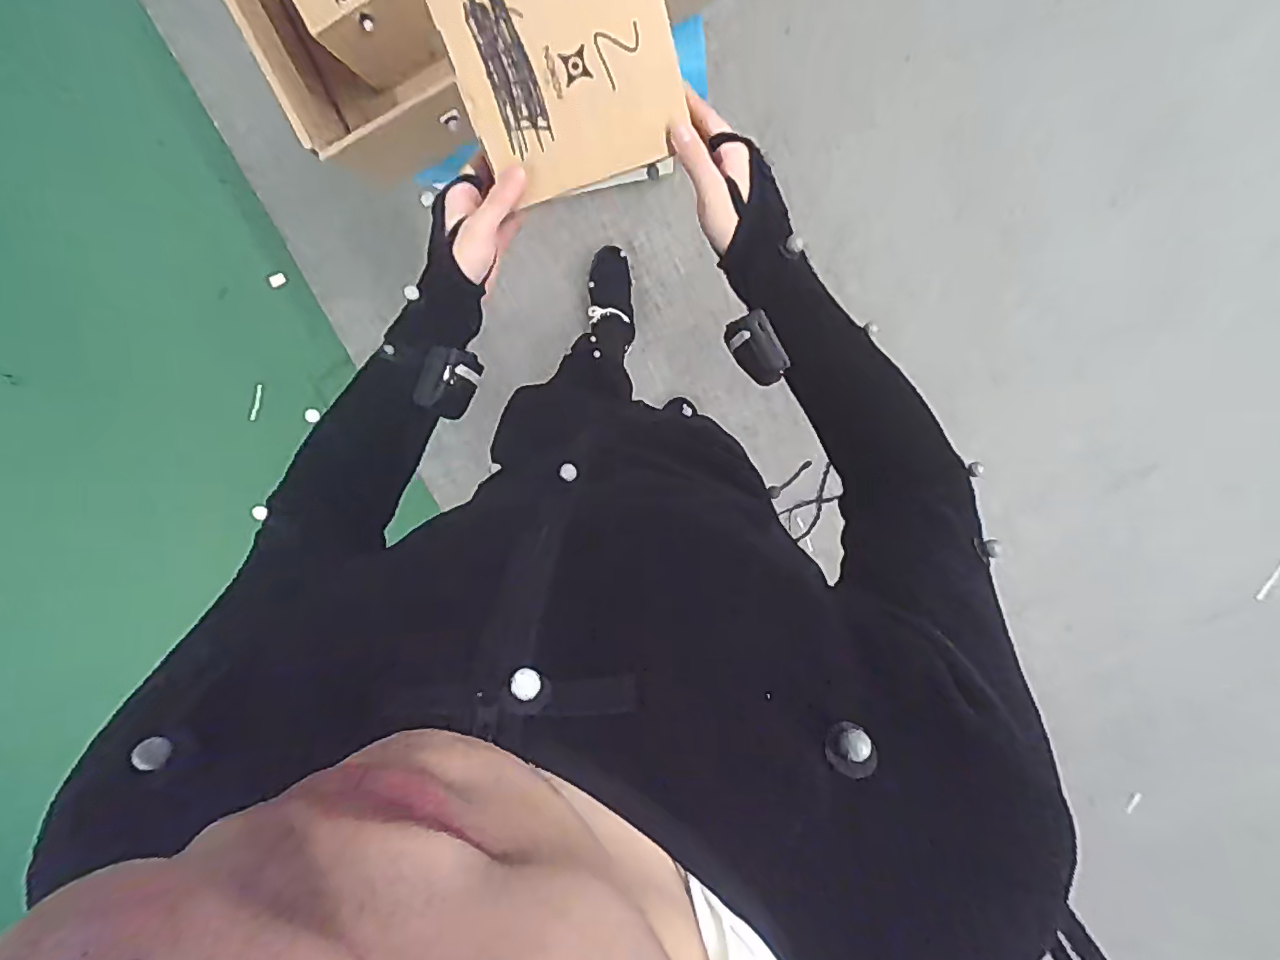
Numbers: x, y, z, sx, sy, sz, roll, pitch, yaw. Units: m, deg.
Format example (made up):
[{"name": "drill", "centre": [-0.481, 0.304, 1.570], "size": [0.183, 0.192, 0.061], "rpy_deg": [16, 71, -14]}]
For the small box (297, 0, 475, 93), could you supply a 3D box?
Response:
[{"name": "small box", "centre": [-0.347, -0.660, 0.702], "size": [0.168, 0.176, 0.179], "rpy_deg": [-23, 102, 9]}]
